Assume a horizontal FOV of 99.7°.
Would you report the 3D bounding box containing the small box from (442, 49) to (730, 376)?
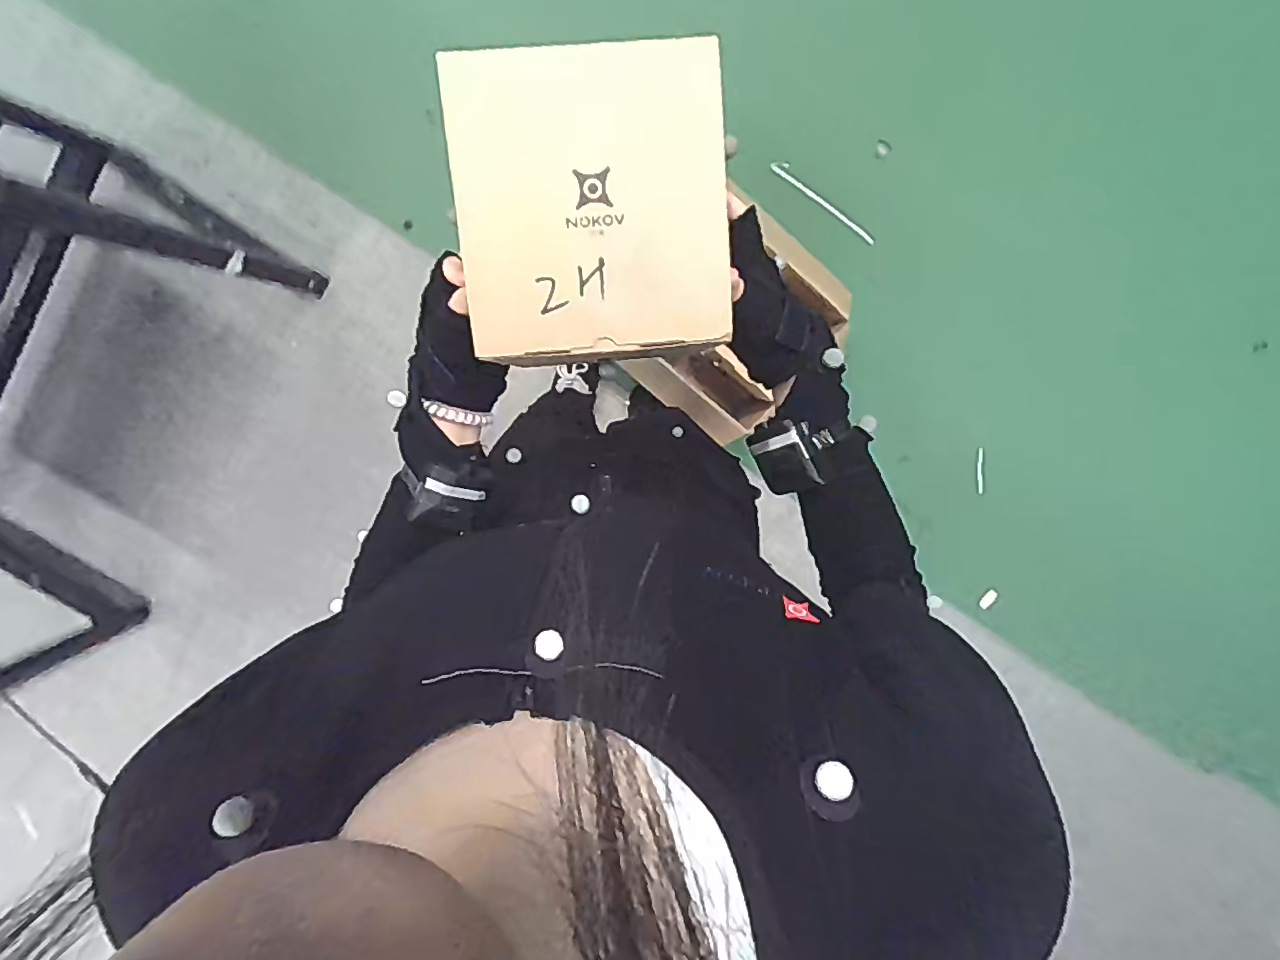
[{"bbox_3d":[-0.034,-0.177,0.411,0.168,0.176,0.179,-6,100,-2],"label":"small box"}]
